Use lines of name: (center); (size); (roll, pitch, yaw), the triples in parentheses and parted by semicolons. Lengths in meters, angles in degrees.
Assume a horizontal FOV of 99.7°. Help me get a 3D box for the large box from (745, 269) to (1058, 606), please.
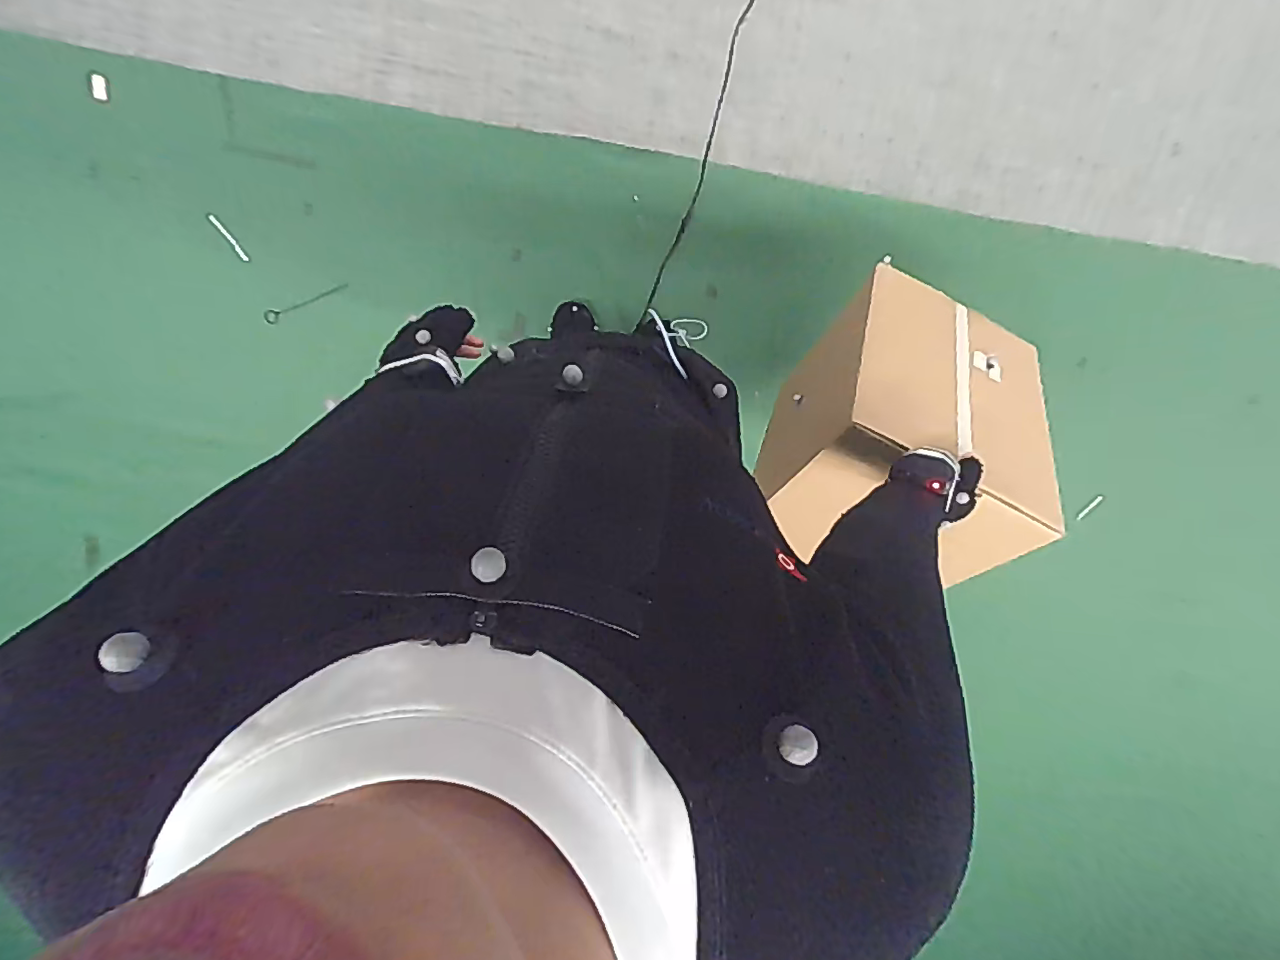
large box: (0.414, -0.065, 0.914); (0.320, 0.408, 0.320); (28, 143, -4)
